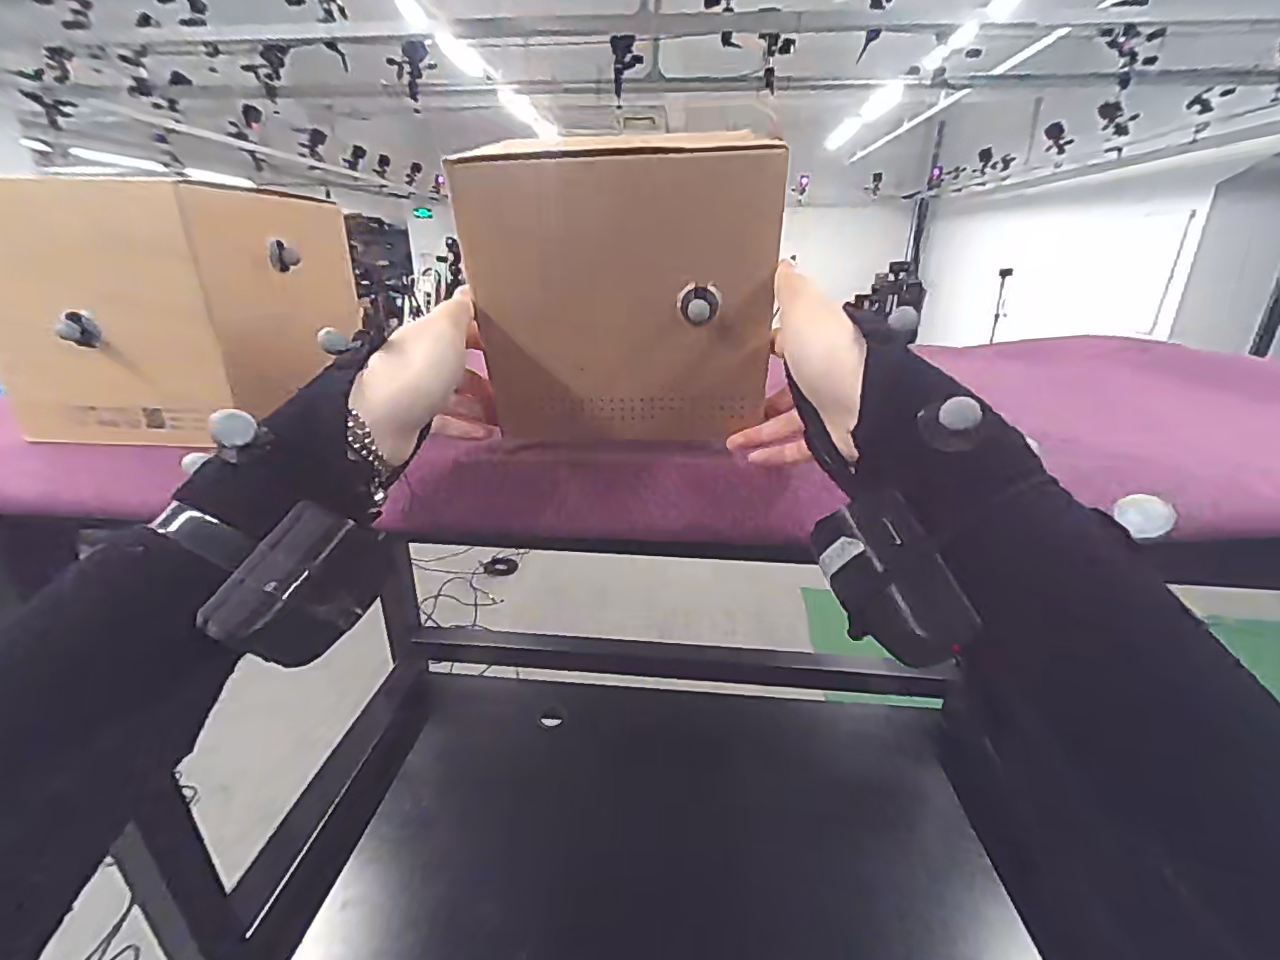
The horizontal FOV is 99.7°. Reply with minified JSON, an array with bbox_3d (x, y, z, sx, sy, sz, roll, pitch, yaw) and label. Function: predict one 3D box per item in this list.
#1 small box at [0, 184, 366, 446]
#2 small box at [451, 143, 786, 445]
[{"bbox_3d":[-0.344,-0.130,0.429,0.168,0.176,0.179,2,22,2],"label":"small box"},{"bbox_3d":[-0.006,-0.135,0.386,0.179,0.176,0.168,-1,33,3],"label":"small box"}]
